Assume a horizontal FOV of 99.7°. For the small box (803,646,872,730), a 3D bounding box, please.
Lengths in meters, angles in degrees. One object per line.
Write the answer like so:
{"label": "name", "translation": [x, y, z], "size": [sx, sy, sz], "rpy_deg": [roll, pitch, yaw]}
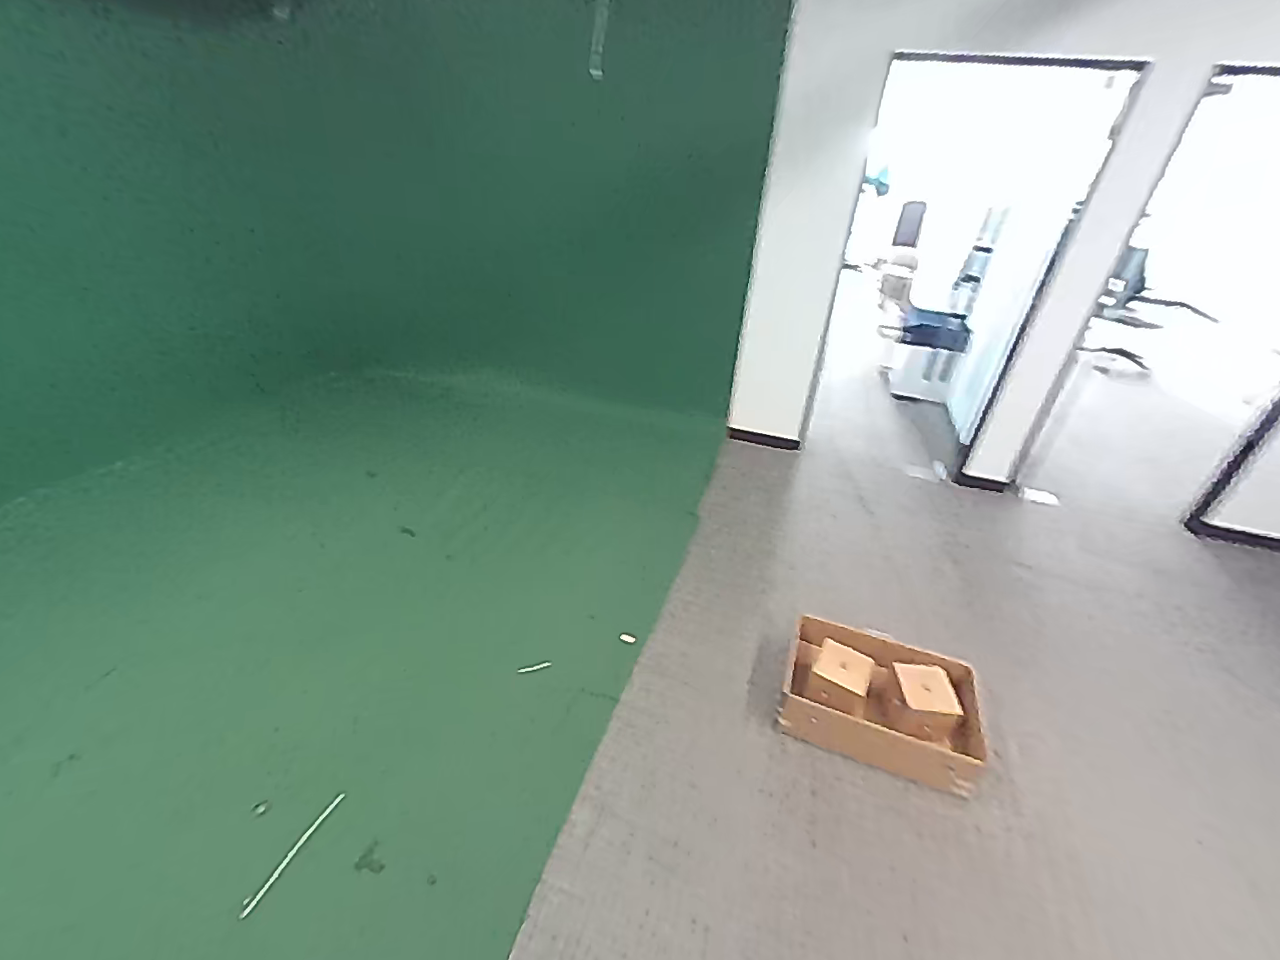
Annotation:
{"label": "small box", "translation": [0.674, 0.715, 1.857], "size": [0.168, 0.176, 0.179], "rpy_deg": [21, 35, 24]}

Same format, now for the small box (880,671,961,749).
{"label": "small box", "translation": [0.925, 0.768, 1.800], "size": [0.168, 0.176, 0.179], "rpy_deg": [5, 32, 3]}
